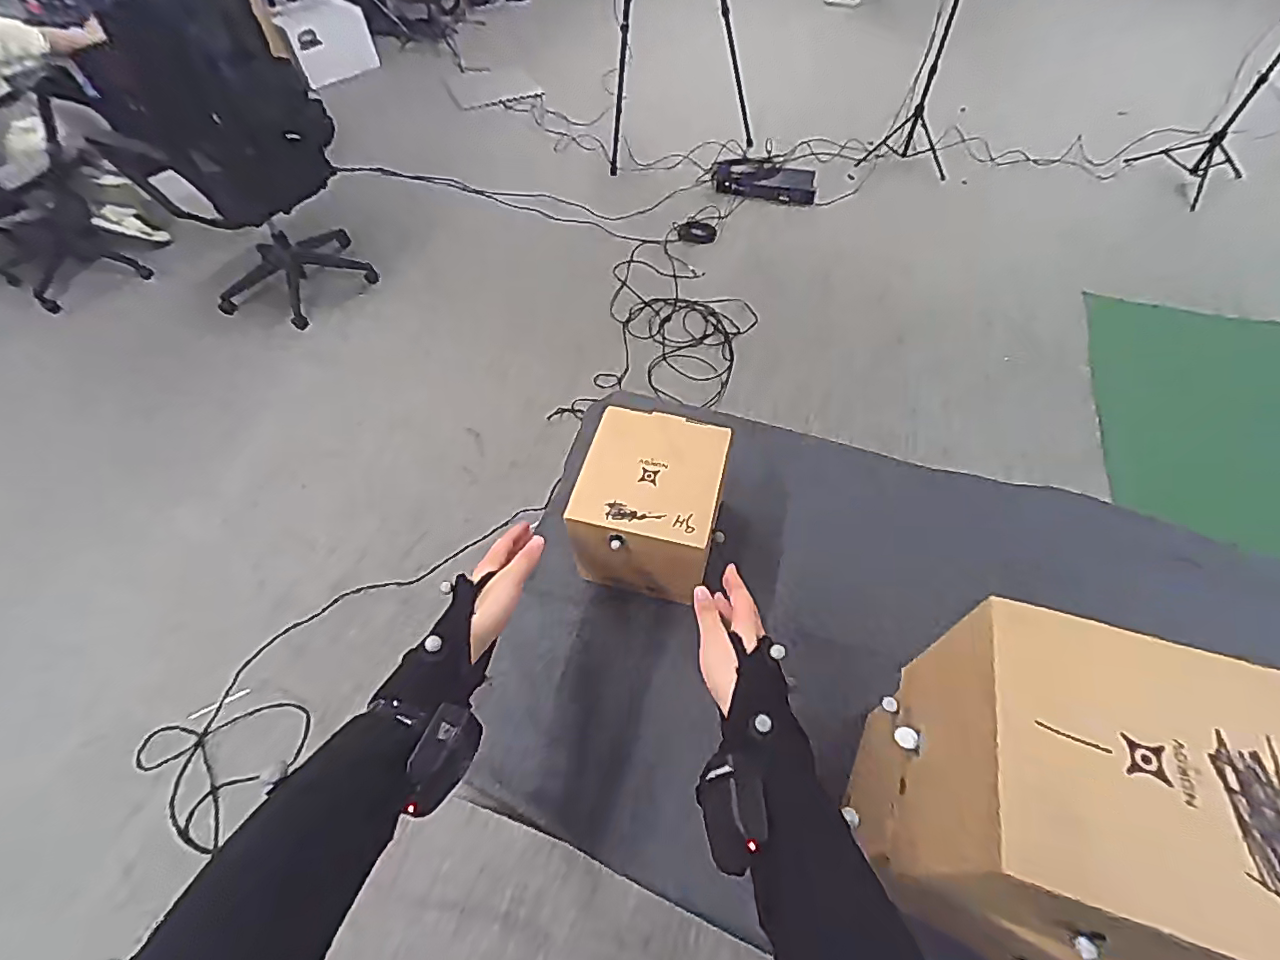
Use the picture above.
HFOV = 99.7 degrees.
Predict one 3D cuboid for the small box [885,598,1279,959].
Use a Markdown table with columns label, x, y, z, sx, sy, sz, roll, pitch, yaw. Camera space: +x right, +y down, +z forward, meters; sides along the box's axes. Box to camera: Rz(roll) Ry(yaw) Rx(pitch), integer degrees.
| label | x | y | z | sx | sy | sz | roll | pitch | yaw |
| --- | --- | --- | --- | --- | --- | --- | --- | --- | --- |
| small box | 0.290 | 0.210 | 0.368 | 0.179 | 0.176 | 0.168 | 15 | 55 | 13 |

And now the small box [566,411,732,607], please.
| label | x | y | z | sx | sy | sz | roll | pitch | yaw |
| --- | --- | --- | --- | --- | --- | --- | --- | --- | --- |
| small box | 0.017 | 0.041 | 0.709 | 0.168 | 0.176 | 0.179 | 12 | 58 | 10 |
